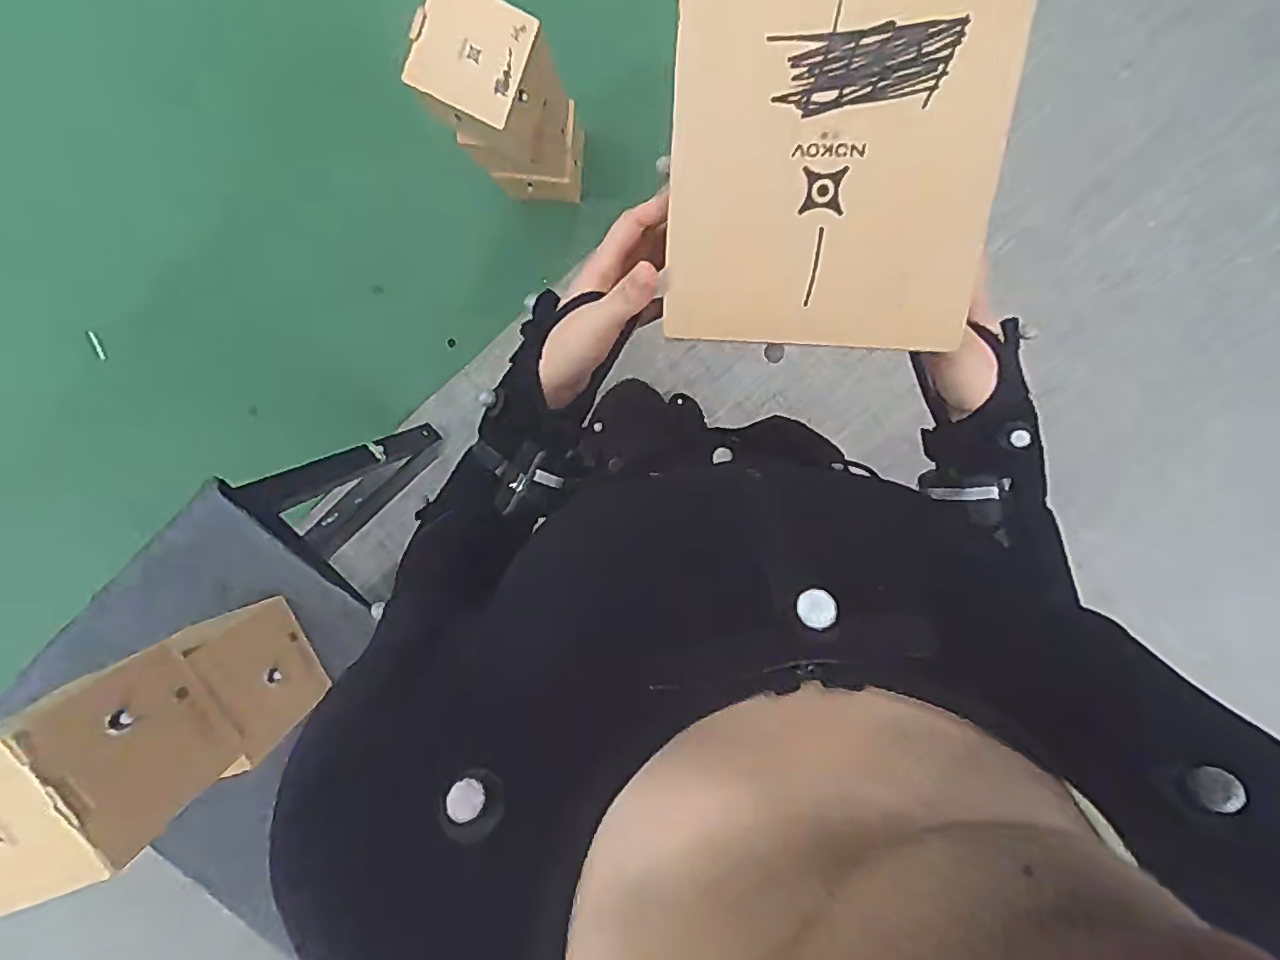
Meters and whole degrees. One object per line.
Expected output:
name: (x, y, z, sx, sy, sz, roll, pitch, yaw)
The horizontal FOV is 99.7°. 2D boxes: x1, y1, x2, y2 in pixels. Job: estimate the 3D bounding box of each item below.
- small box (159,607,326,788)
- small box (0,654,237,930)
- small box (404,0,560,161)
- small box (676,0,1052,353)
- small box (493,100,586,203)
small box: (-0.571, 0.298, 0.740, 0.179, 0.176, 0.168, -19, 102, 9)
small box: (-0.584, 0.317, 0.578, 0.179, 0.176, 0.168, -24, 101, 10)
small box: (-0.254, -0.674, 0.908, 0.179, 0.176, 0.168, 25, 104, -4)
small box: (0.116, -0.180, 0.353, 0.168, 0.176, 0.179, 5, 107, 8)
small box: (-0.222, -0.743, 1.229, 0.179, 0.176, 0.168, 6, 104, 1)
